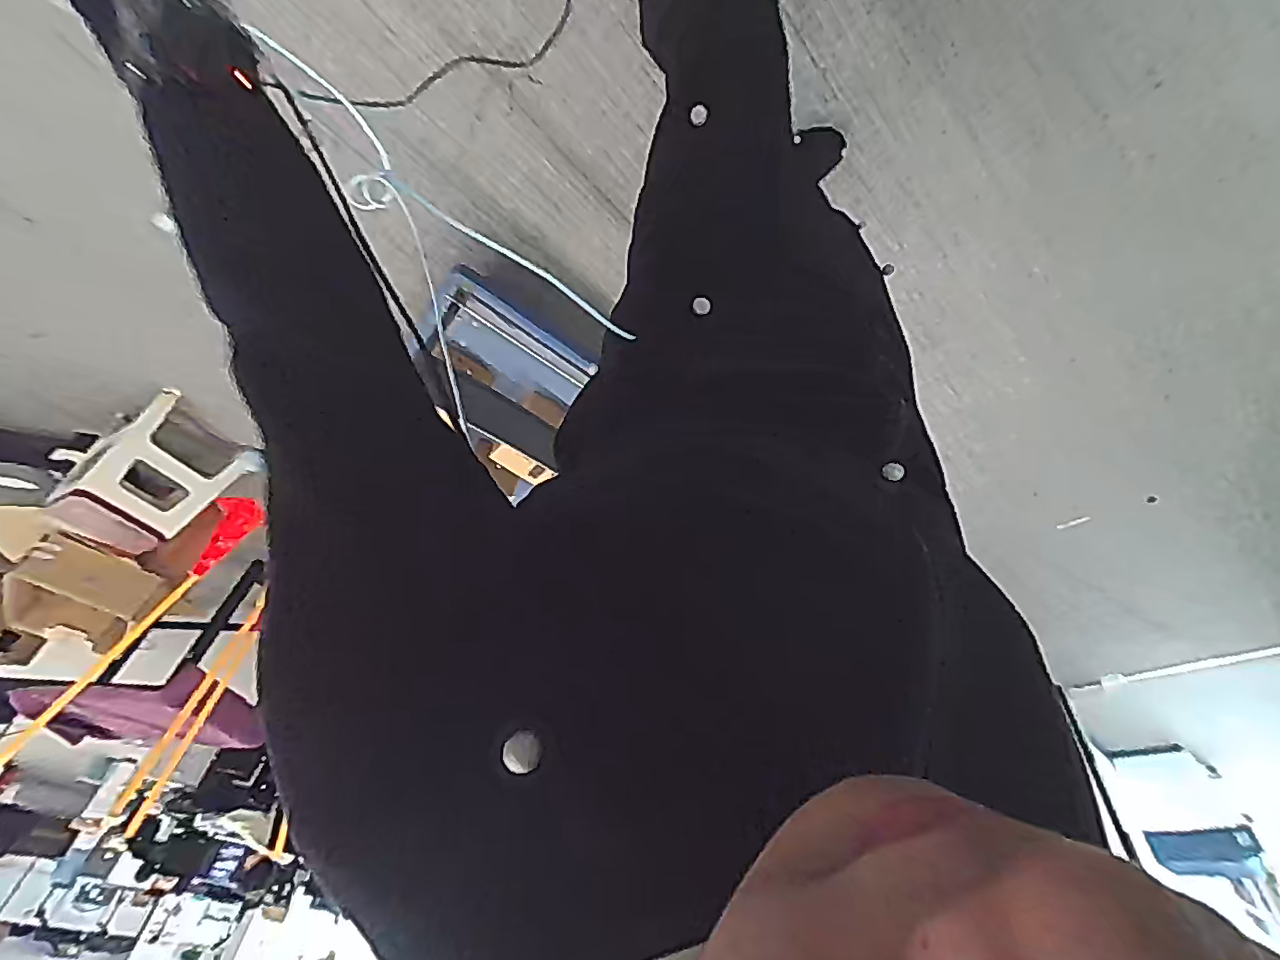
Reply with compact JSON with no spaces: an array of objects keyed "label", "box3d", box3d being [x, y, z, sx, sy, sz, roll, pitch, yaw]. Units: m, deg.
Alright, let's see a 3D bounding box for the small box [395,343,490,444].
[{"label":"small box","box3d":[-0.536,-0.239,1.489,0.168,0.176,0.179,33,131,-26]}]
